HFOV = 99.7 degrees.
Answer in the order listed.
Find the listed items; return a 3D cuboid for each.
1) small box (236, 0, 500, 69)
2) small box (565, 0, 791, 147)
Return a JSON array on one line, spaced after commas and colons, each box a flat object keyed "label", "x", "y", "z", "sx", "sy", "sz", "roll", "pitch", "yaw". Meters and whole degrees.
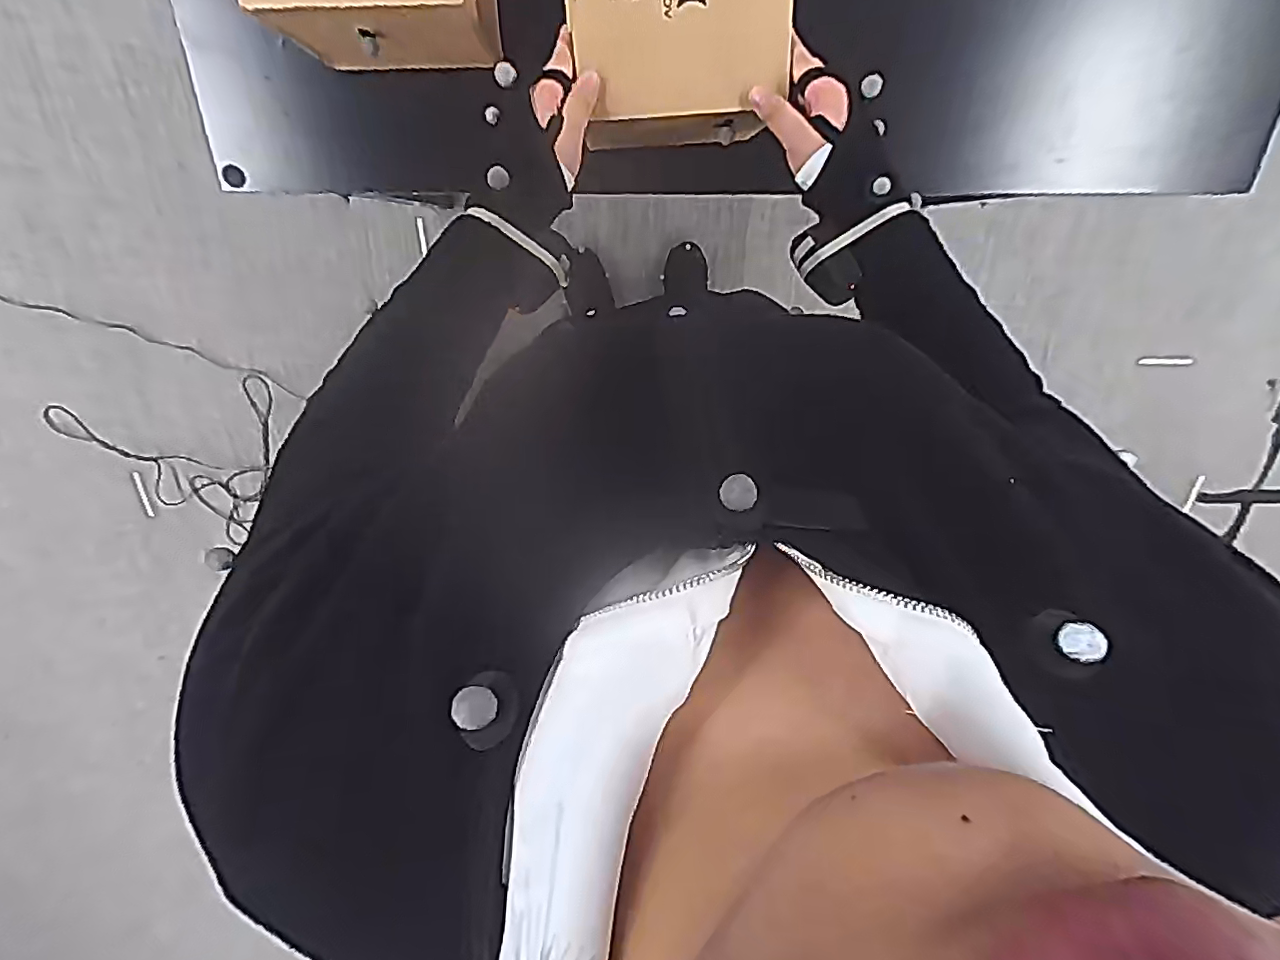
[{"label": "small box", "x": -0.233, "y": -0.476, "z": 0.464, "sx": 0.179, "sy": 0.176, "sz": 0.168, "roll": -3, "pitch": 114, "yaw": -1}, {"label": "small box", "x": 0.027, "y": -0.406, "z": 0.482, "sx": 0.179, "sy": 0.176, "sz": 0.168, "roll": -4, "pitch": 115, "yaw": 0}]
